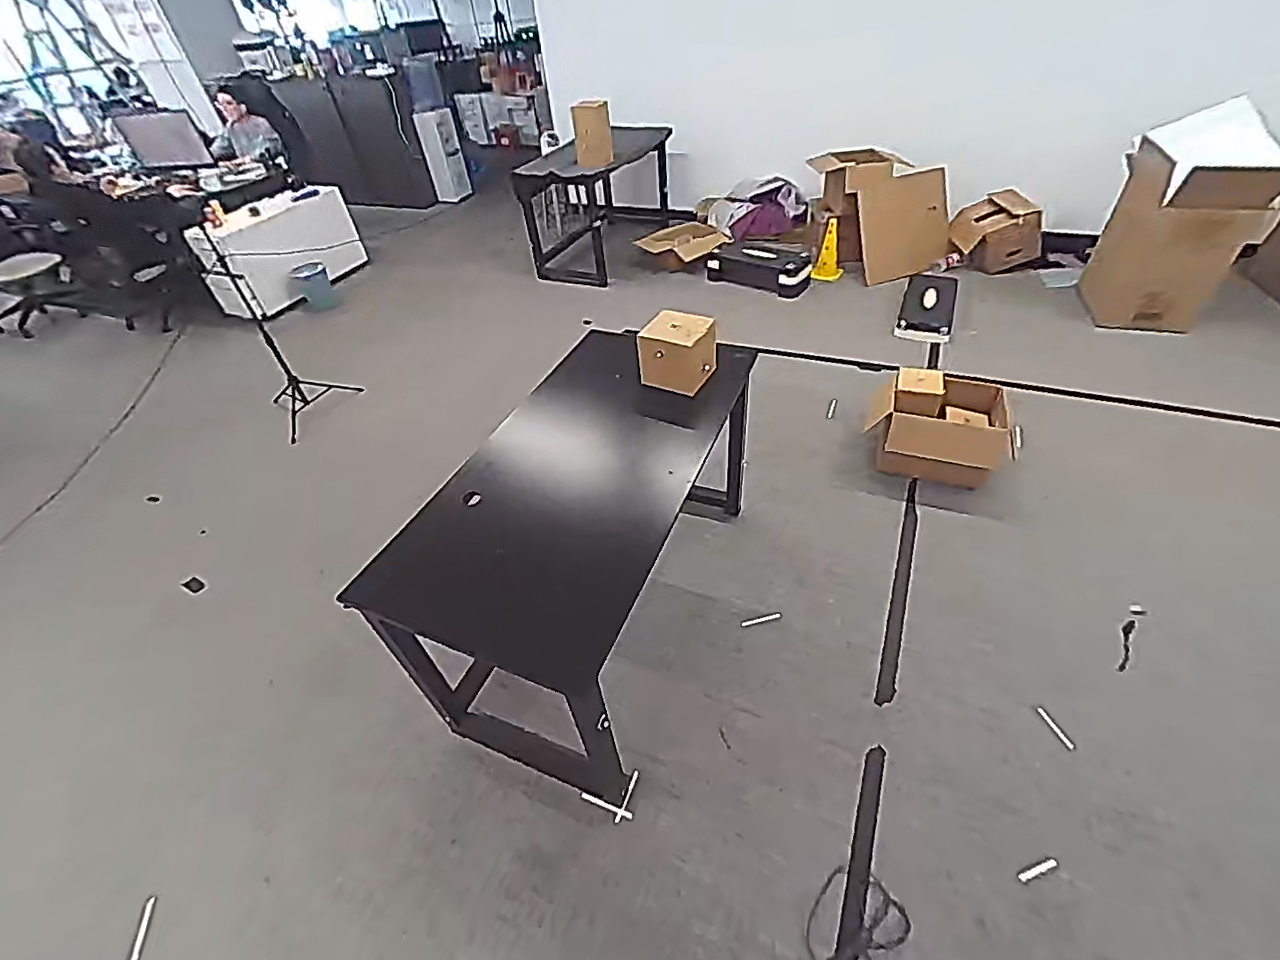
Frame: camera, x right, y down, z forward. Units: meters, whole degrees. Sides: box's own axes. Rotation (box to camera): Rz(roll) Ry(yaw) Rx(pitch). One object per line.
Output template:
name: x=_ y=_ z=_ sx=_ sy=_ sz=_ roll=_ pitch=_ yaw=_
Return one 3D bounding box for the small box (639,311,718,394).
small box: x=0.118 y=-0.377 z=1.601 sx=0.179 sy=0.176 sz=0.168 roll=20 pitch=50 yaw=25
